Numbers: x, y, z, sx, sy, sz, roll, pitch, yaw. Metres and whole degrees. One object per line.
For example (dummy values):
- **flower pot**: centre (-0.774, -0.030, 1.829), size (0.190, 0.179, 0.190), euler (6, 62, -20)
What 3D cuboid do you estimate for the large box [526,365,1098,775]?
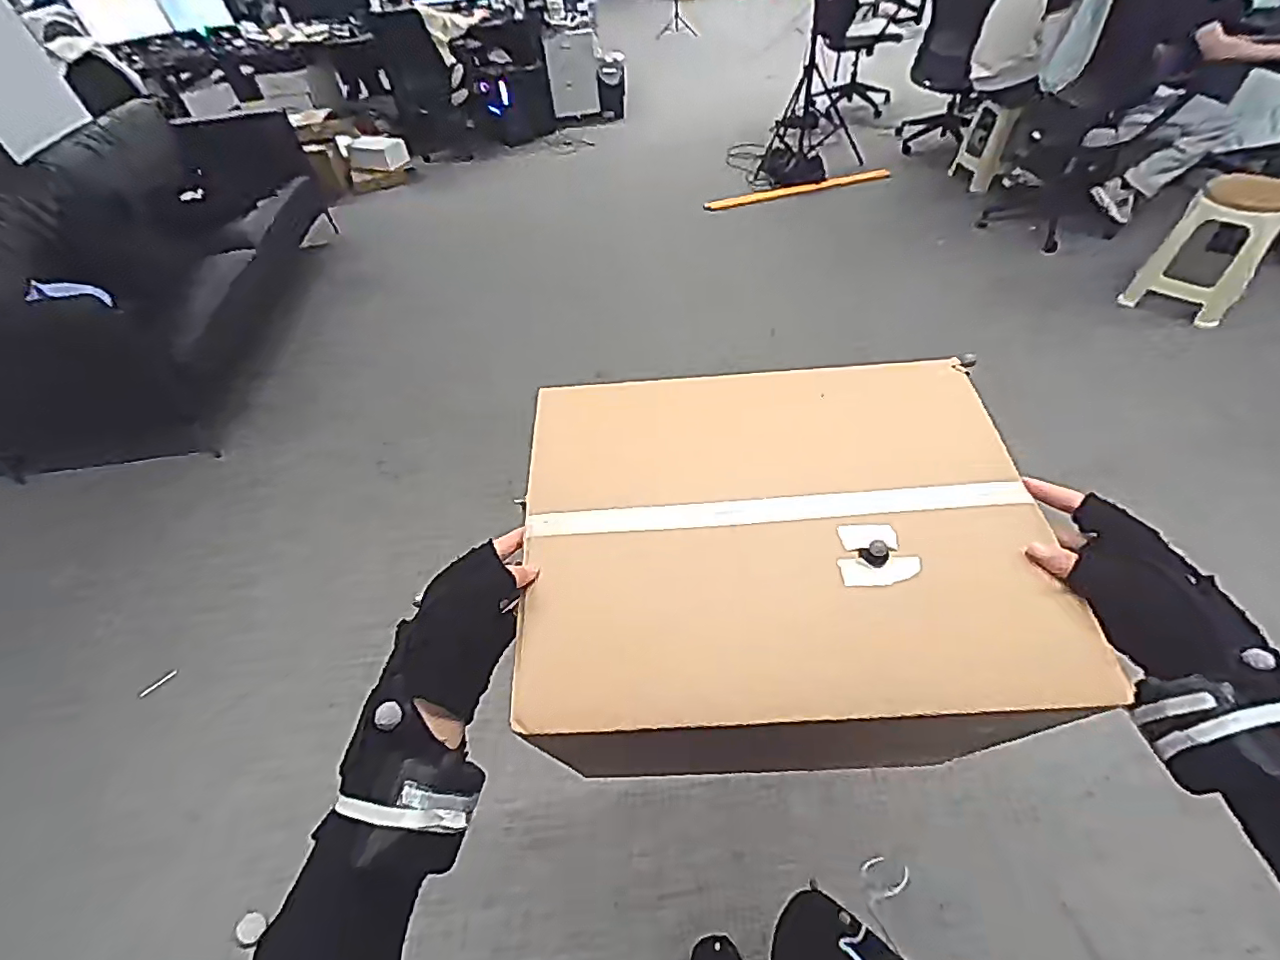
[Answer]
- **large box**: centre (0.118, 0.112, 0.577), size (0.408, 0.320, 0.320), euler (-4, 56, 2)
